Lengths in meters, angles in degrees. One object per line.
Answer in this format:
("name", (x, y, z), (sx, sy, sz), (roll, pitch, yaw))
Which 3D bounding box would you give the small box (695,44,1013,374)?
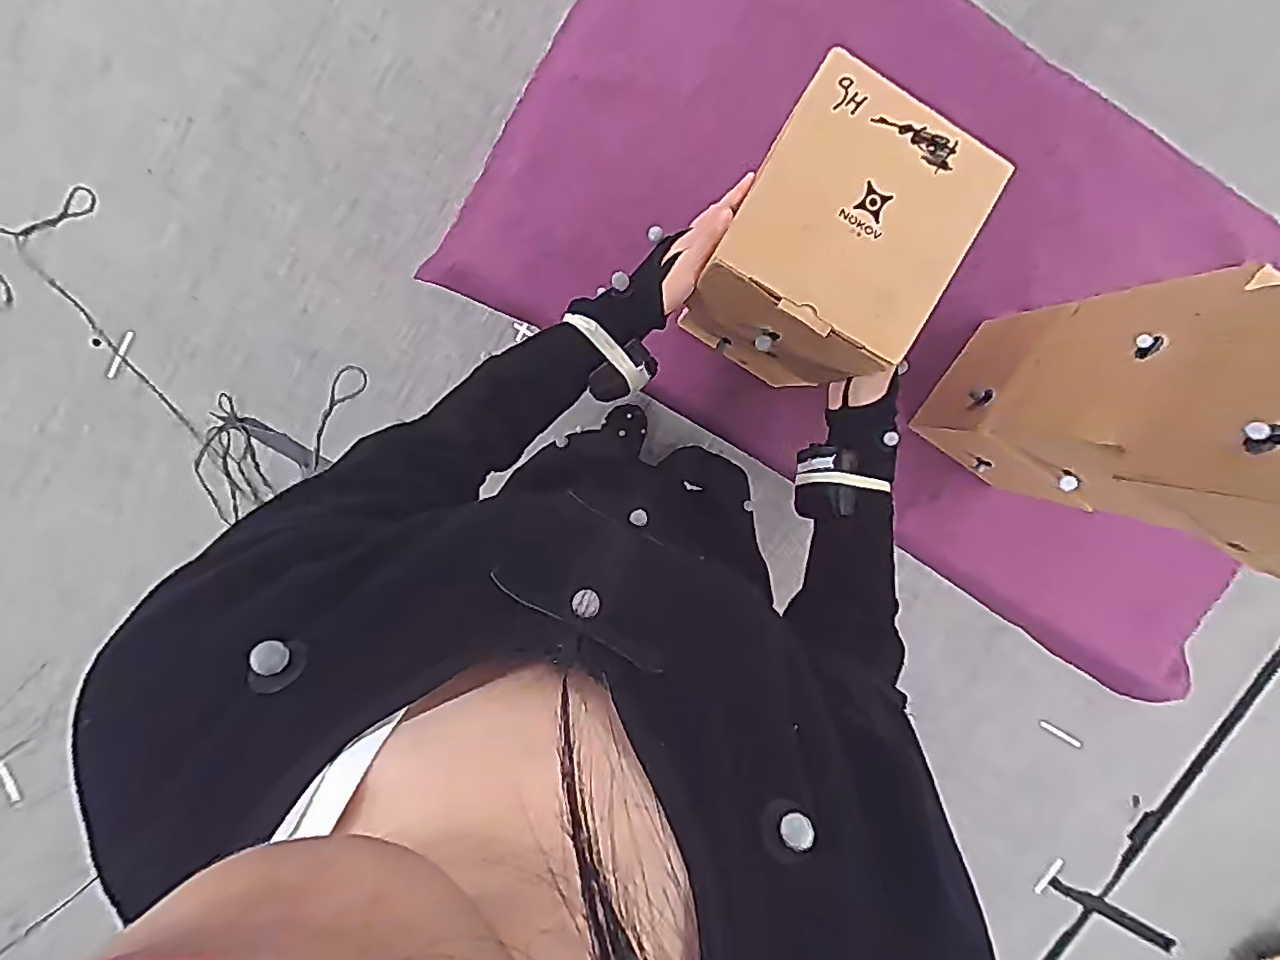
("small box", (0.163, -0.208, 0.479), (0.168, 0.176, 0.179), (30, 94, -7))

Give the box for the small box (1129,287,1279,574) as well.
("small box", (0.499, -0.024, 0.364), (0.168, 0.176, 0.179), (30, 96, -7))

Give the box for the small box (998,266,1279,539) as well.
("small box", (0.503, -0.068, 0.522), (0.168, 0.176, 0.179), (33, 97, -6))

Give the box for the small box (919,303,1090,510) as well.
("small box", (0.493, -0.090, 0.685), (0.168, 0.176, 0.179), (33, 95, -7))

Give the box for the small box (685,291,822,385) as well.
("small box", (0.167, -0.228, 0.654), (0.168, 0.176, 0.179), (31, 95, -6))
